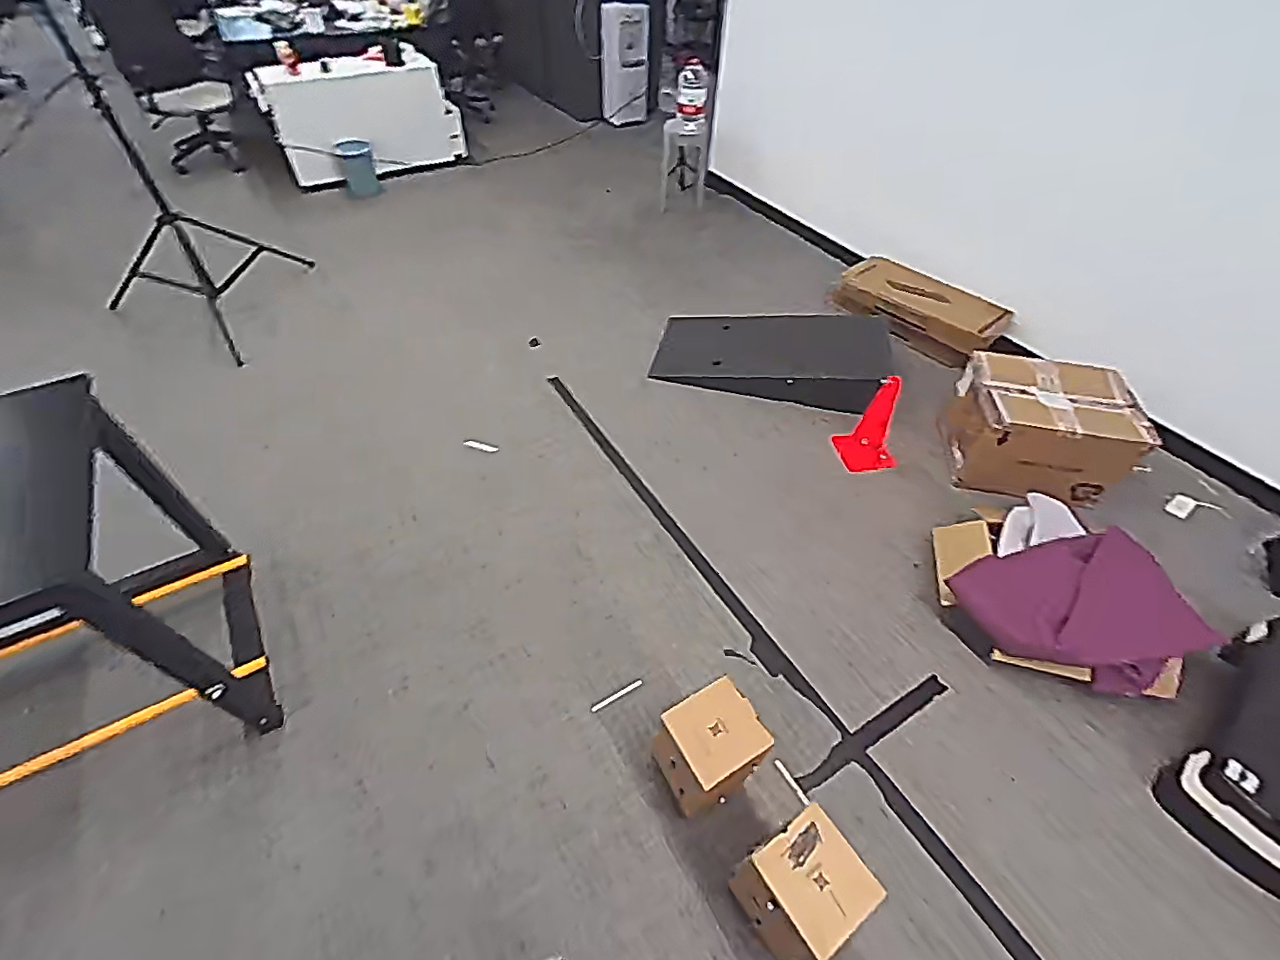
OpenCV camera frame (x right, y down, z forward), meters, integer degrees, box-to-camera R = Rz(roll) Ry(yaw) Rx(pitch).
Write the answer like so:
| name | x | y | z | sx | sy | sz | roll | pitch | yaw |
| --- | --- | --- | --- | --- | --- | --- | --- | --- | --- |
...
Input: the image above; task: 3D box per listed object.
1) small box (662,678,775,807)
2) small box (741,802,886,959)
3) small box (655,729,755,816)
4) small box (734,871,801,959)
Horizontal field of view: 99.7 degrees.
| name | x | y | z | sx | sy | sz | roll | pitch | yaw |
| --- | --- | --- | --- | --- | --- | --- | --- | --- | --- |
| small box | 0.160 | 0.569 | 1.170 | 0.179 | 0.176 | 0.168 | -24 | 53 | -20 |
| small box | 0.312 | 0.751 | 1.014 | 0.168 | 0.176 | 0.179 | -26 | 55 | -23 |
| small box | 0.148 | 0.673 | 1.295 | 0.168 | 0.176 | 0.179 | -22 | 53 | -20 |
| small box | 0.315 | 0.863 | 1.136 | 0.179 | 0.176 | 0.168 | -27 | 55 | -22 |
